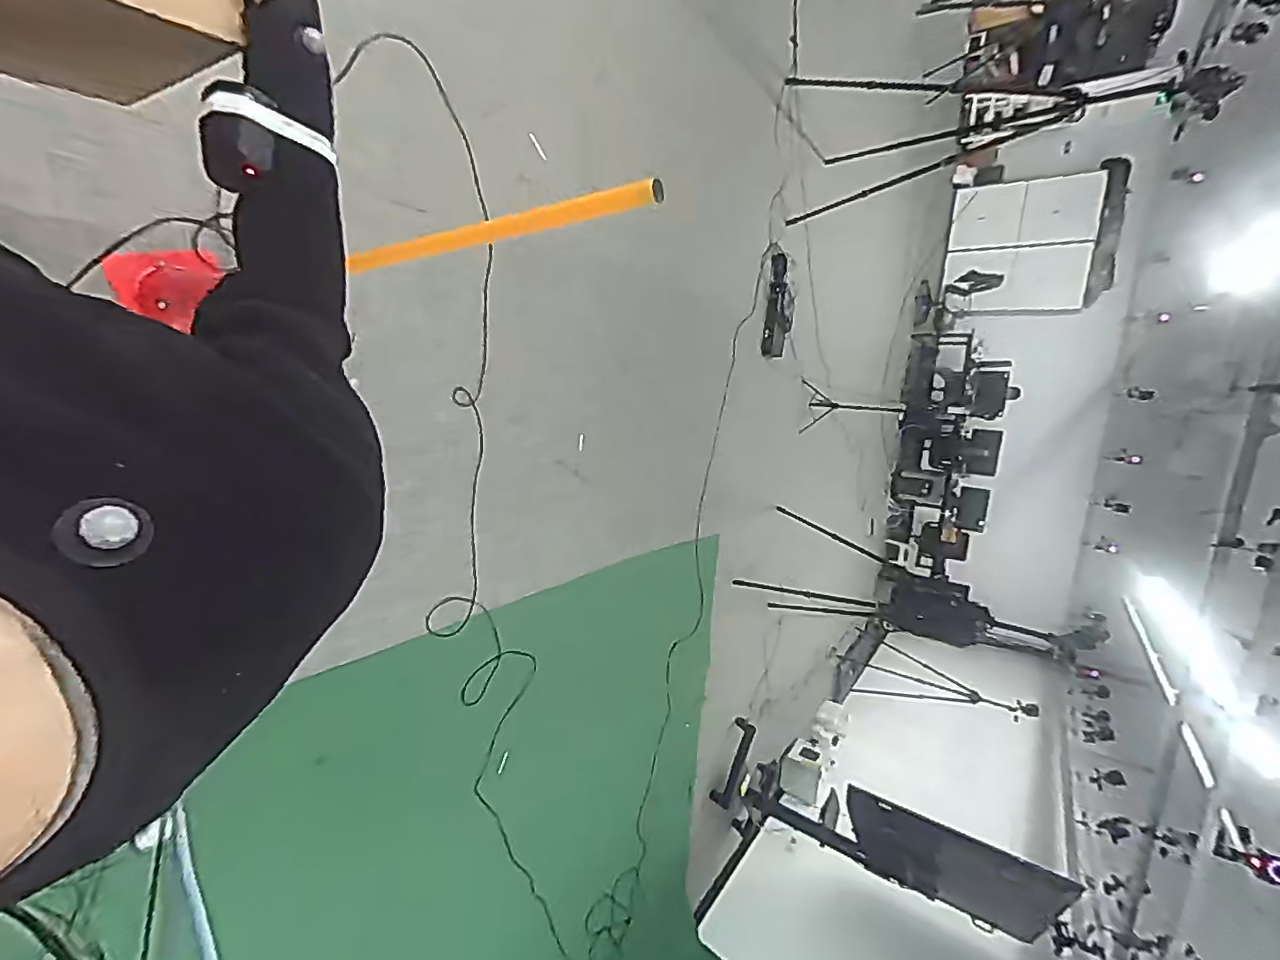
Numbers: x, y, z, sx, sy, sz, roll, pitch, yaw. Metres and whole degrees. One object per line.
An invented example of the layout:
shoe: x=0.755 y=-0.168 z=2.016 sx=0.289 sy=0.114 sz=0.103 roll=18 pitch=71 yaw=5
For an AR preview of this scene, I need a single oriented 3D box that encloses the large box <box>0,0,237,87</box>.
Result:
large box: x=-0.539 y=-0.479 z=0.303 sx=0.408 sy=0.320 sz=0.320 roll=-20 pitch=119 yaw=-51
